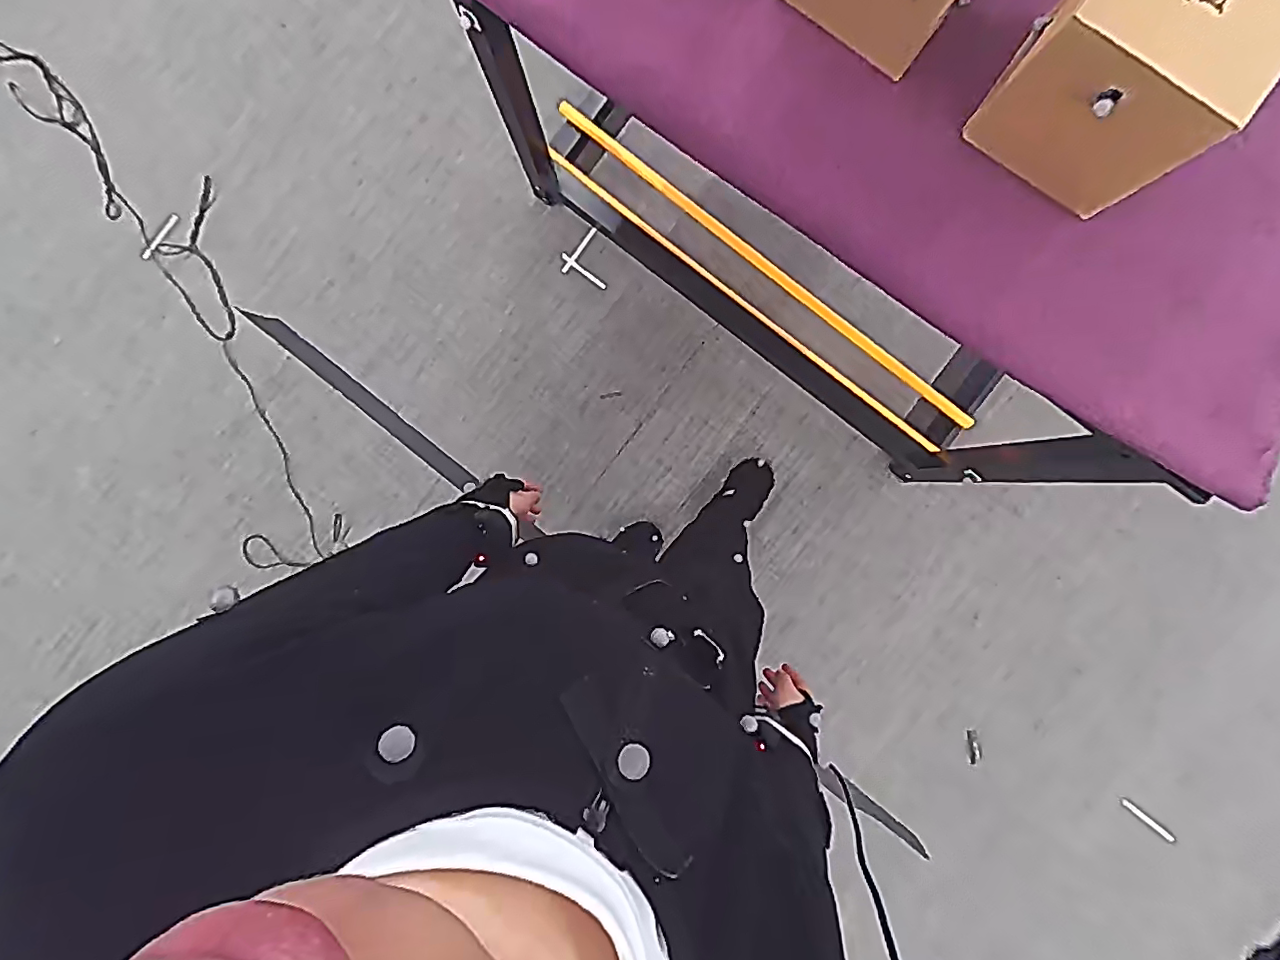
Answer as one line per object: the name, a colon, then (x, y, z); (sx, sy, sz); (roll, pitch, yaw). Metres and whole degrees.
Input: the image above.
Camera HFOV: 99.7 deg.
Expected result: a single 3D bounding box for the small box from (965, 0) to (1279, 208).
small box: (0.485, -0.411, 0.544); (0.179, 0.176, 0.168); (35, 91, 2)
